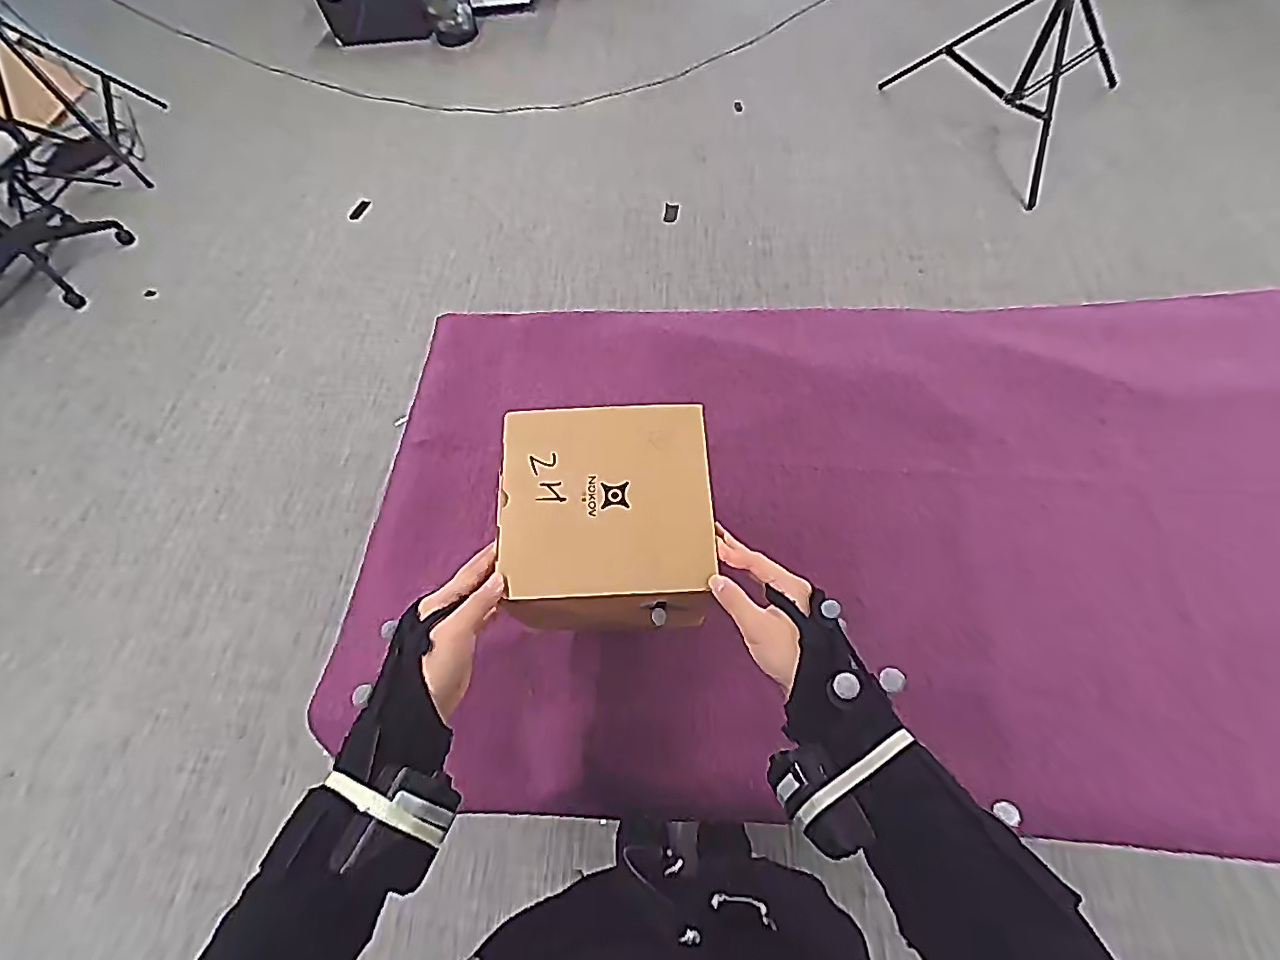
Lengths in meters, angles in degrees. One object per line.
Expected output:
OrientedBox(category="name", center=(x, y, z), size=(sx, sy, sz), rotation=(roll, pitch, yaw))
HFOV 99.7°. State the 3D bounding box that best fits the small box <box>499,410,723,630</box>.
OrientedBox(category="small box", center=(-0.024, 0.047, 0.520), size=(0.179, 0.176, 0.168), rotation=(-3, 66, 0))
